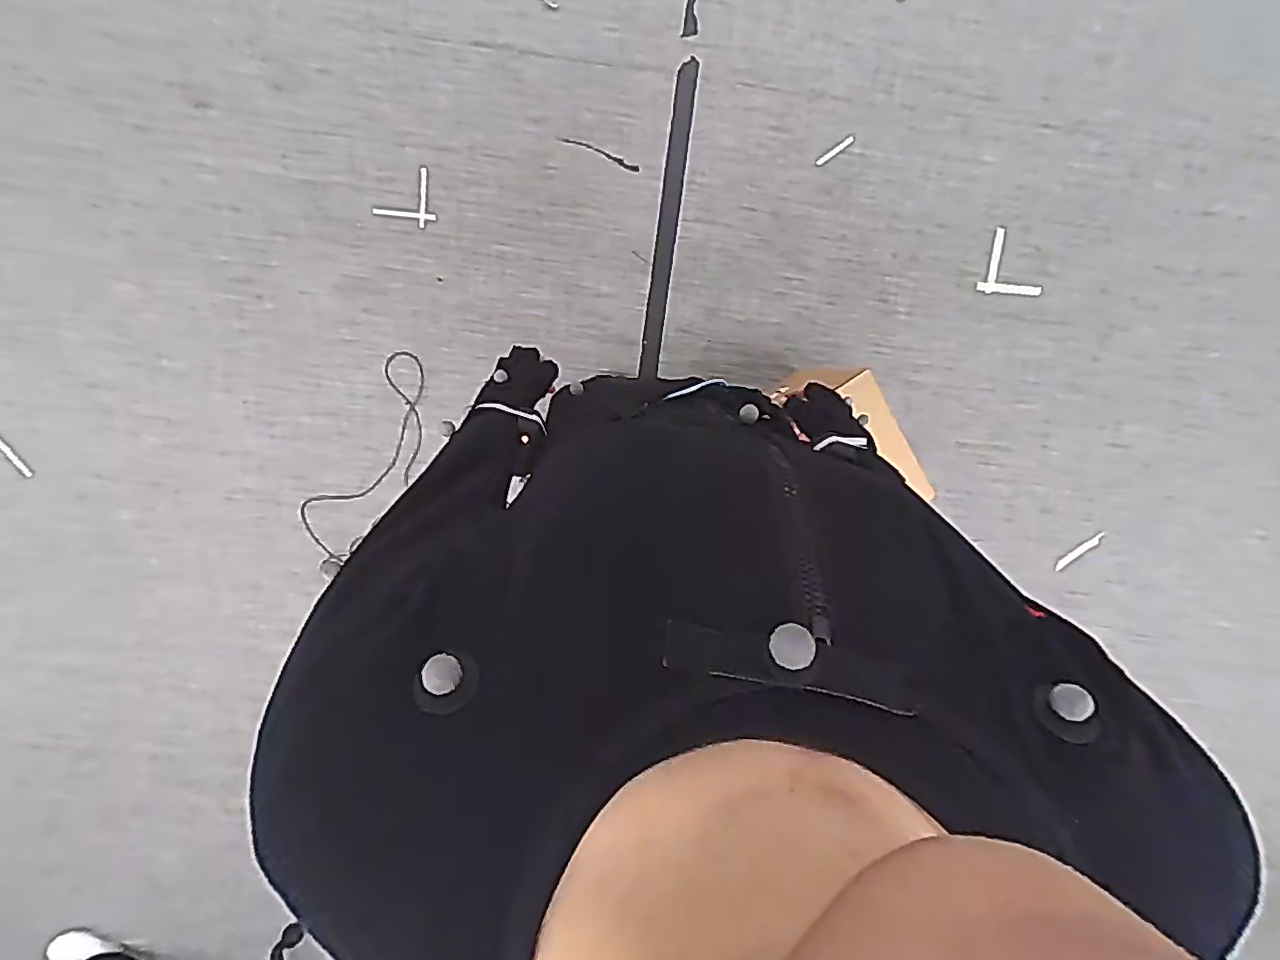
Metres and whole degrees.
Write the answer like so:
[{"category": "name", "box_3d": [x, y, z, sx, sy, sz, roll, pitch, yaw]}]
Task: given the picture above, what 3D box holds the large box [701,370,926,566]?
[{"category": "large box", "box_3d": [0.388, -0.047, 1.305, 0.320, 0.408, 0.320, -32, 100, 3]}]
